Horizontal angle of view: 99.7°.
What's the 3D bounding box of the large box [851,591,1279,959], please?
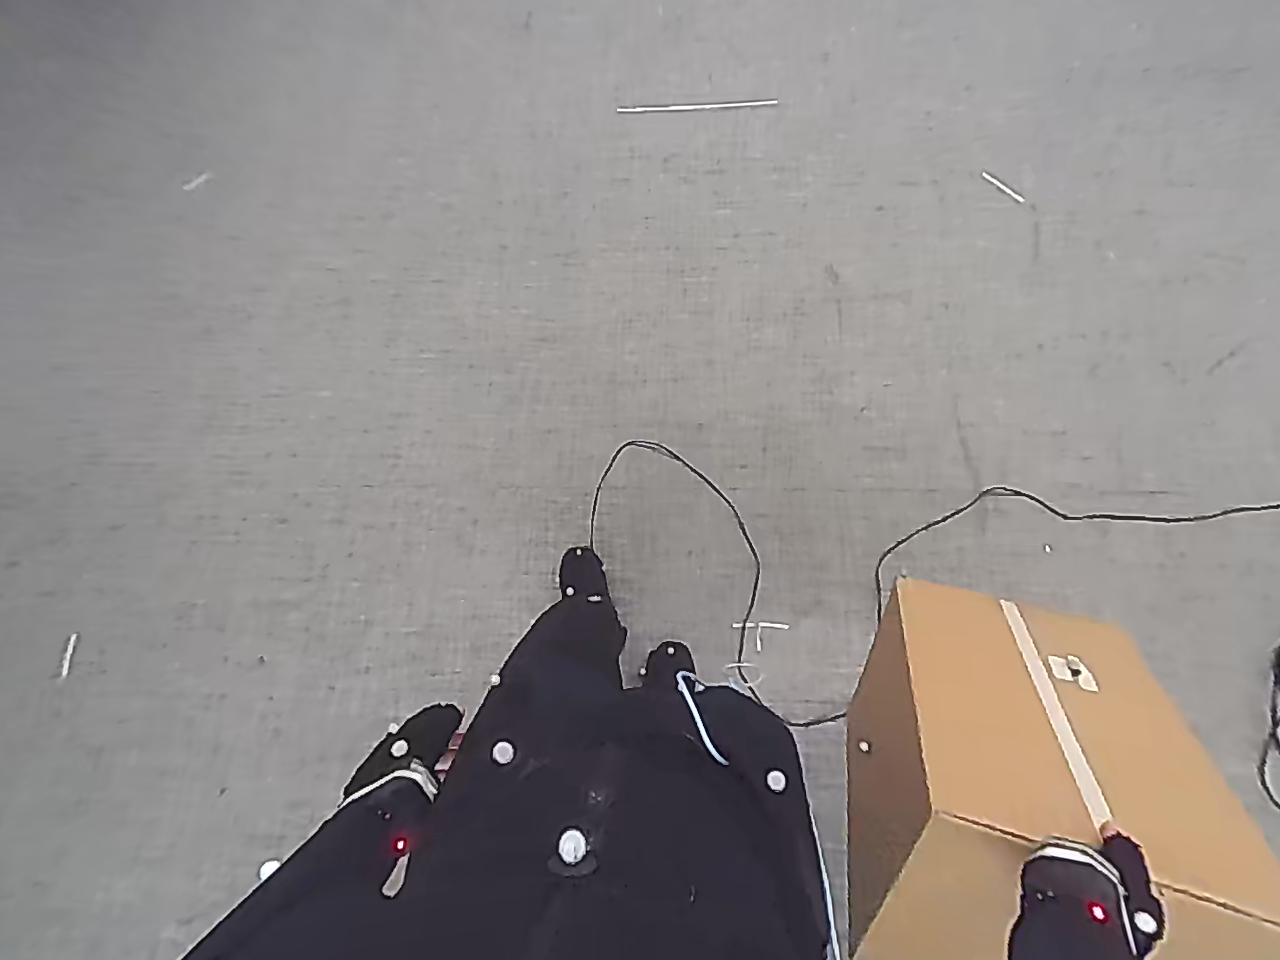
[{"bbox_3d":[0.482,0.419,0.724,0.320,0.408,0.320,13,117,14],"label":"large box"}]
